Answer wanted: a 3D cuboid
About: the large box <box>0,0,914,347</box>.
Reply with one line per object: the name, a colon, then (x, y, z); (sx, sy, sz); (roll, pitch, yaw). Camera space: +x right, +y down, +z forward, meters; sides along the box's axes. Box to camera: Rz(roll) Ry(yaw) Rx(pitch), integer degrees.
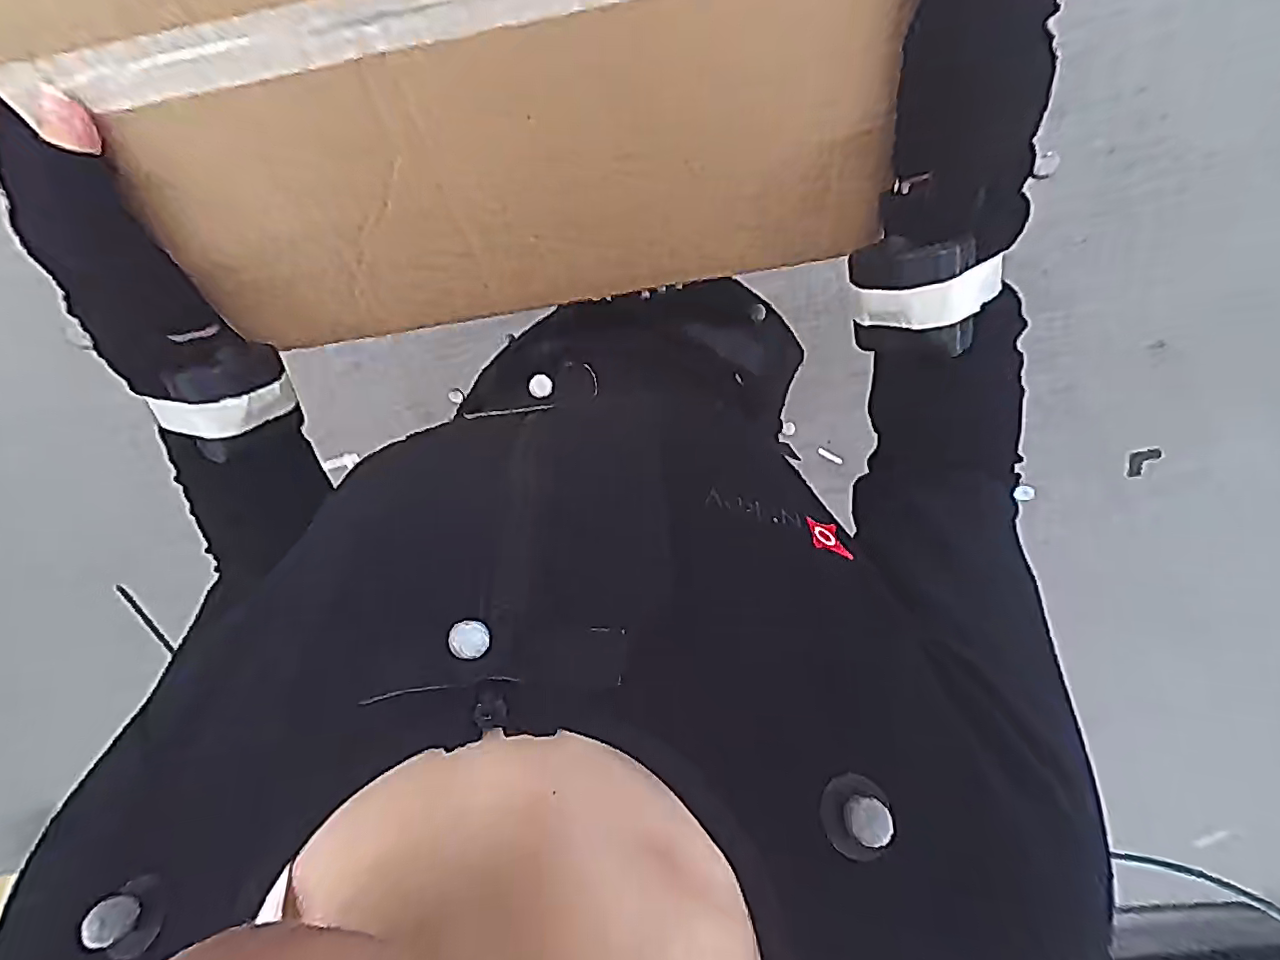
large box: (-0.088, -0.326, 0.309); (0.408, 0.320, 0.320); (-8, 148, 5)
